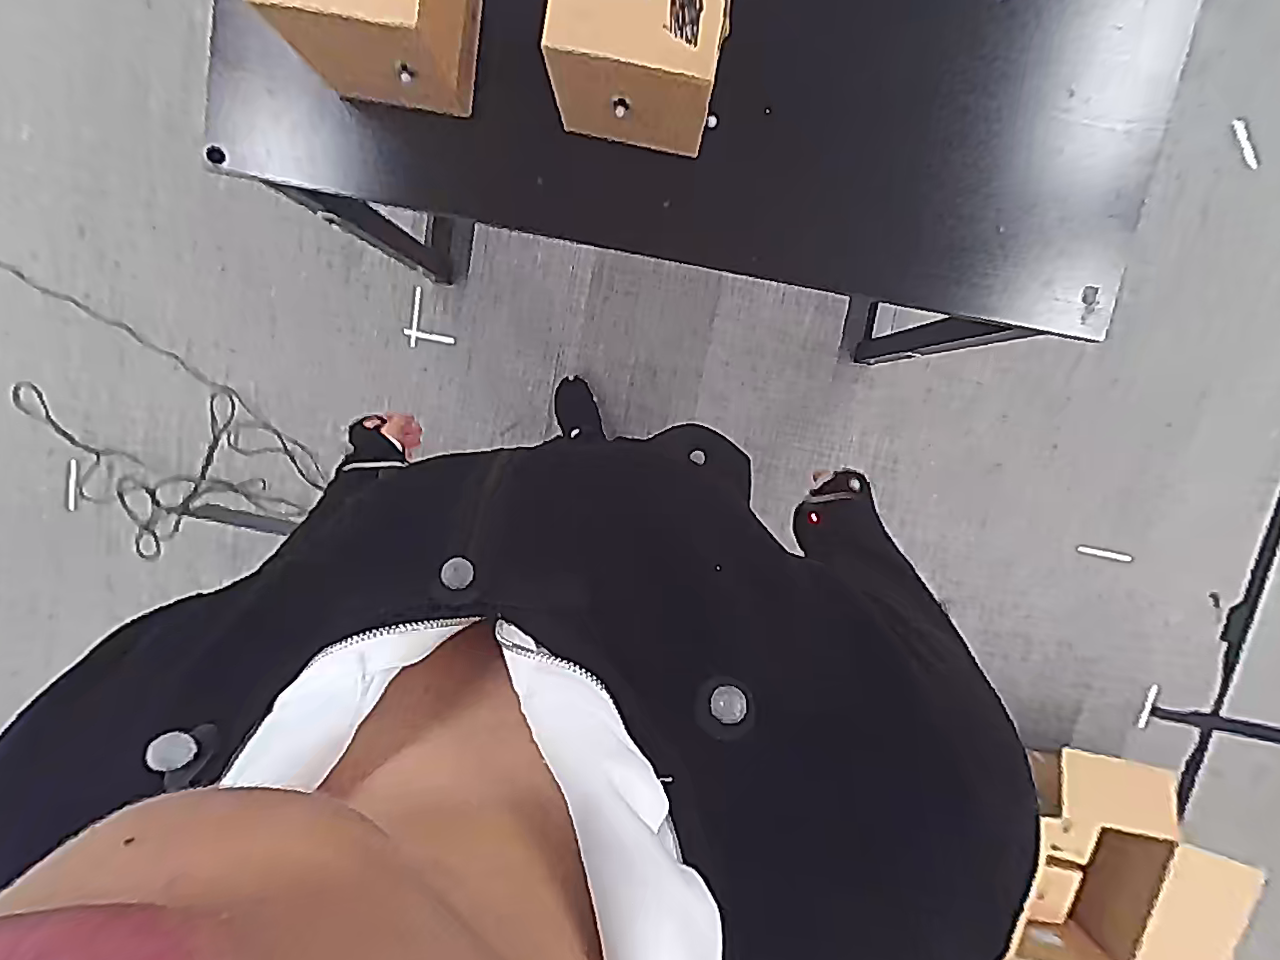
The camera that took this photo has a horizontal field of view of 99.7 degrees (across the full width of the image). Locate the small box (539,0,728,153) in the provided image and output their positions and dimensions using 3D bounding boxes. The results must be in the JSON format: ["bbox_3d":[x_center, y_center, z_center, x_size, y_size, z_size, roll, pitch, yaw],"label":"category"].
[{"bbox_3d":[0.001,-0.499,0.606,0.179,0.176,0.168,11,97,0],"label":"small box"}]

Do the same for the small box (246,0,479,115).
[{"bbox_3d":[-0.291,-0.543,0.602,0.179,0.176,0.168,8,97,0],"label":"small box"}]
